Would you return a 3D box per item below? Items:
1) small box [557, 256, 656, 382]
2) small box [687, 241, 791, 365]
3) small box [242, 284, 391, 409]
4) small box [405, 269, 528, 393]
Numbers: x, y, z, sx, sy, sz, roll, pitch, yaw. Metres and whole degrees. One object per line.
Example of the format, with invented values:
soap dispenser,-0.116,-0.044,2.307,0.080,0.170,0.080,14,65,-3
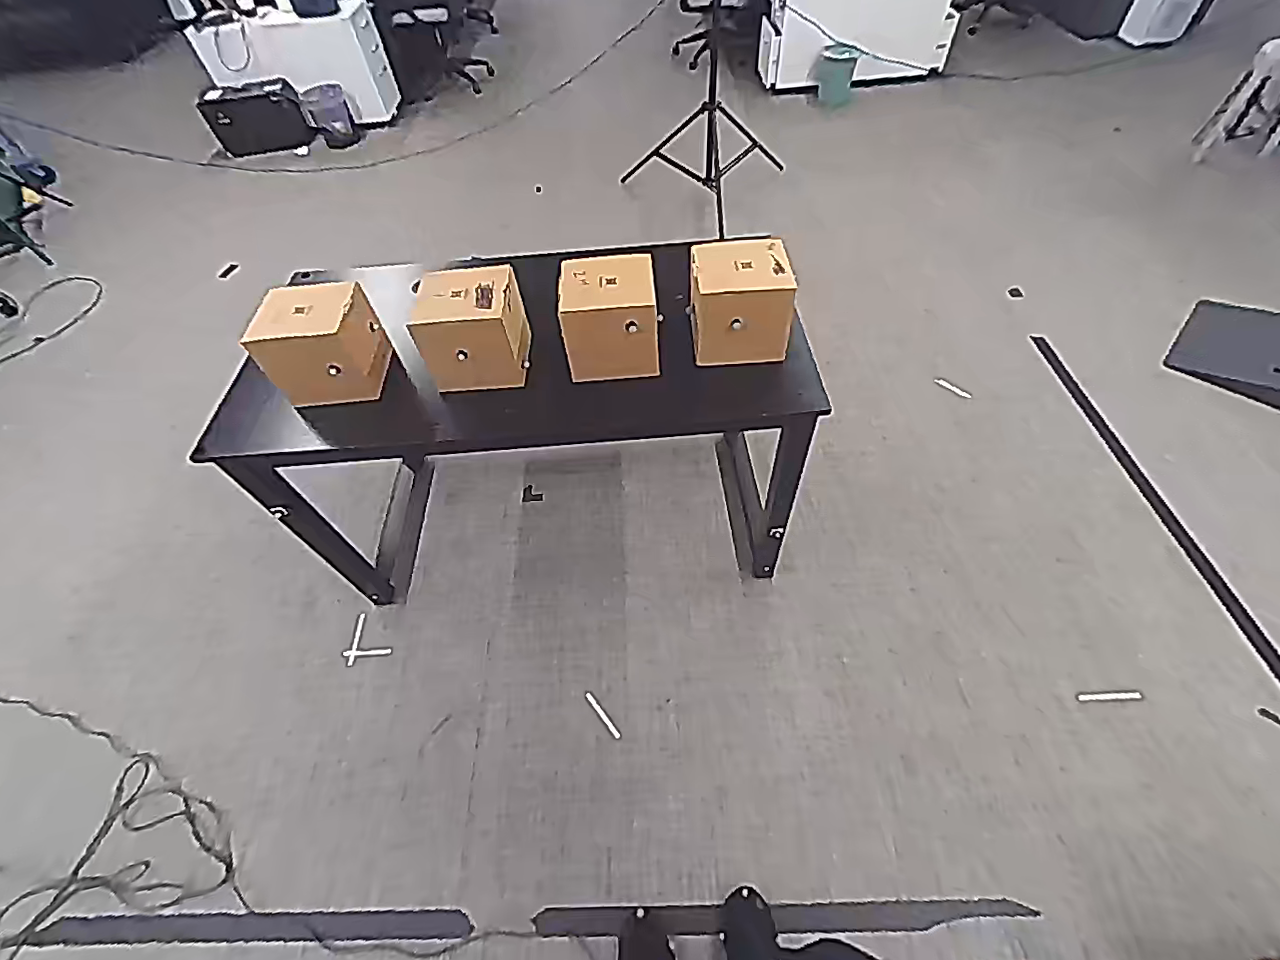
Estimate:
small box,-0.059,-0.312,1.060,0.179,0.176,0.168,-5,53,1
small box,0.188,-0.342,1.063,0.179,0.176,0.168,-4,53,3
small box,-0.622,-0.259,1.070,0.179,0.176,0.168,-7,53,0
small box,-0.328,-0.290,1.067,0.179,0.176,0.168,-4,53,3
